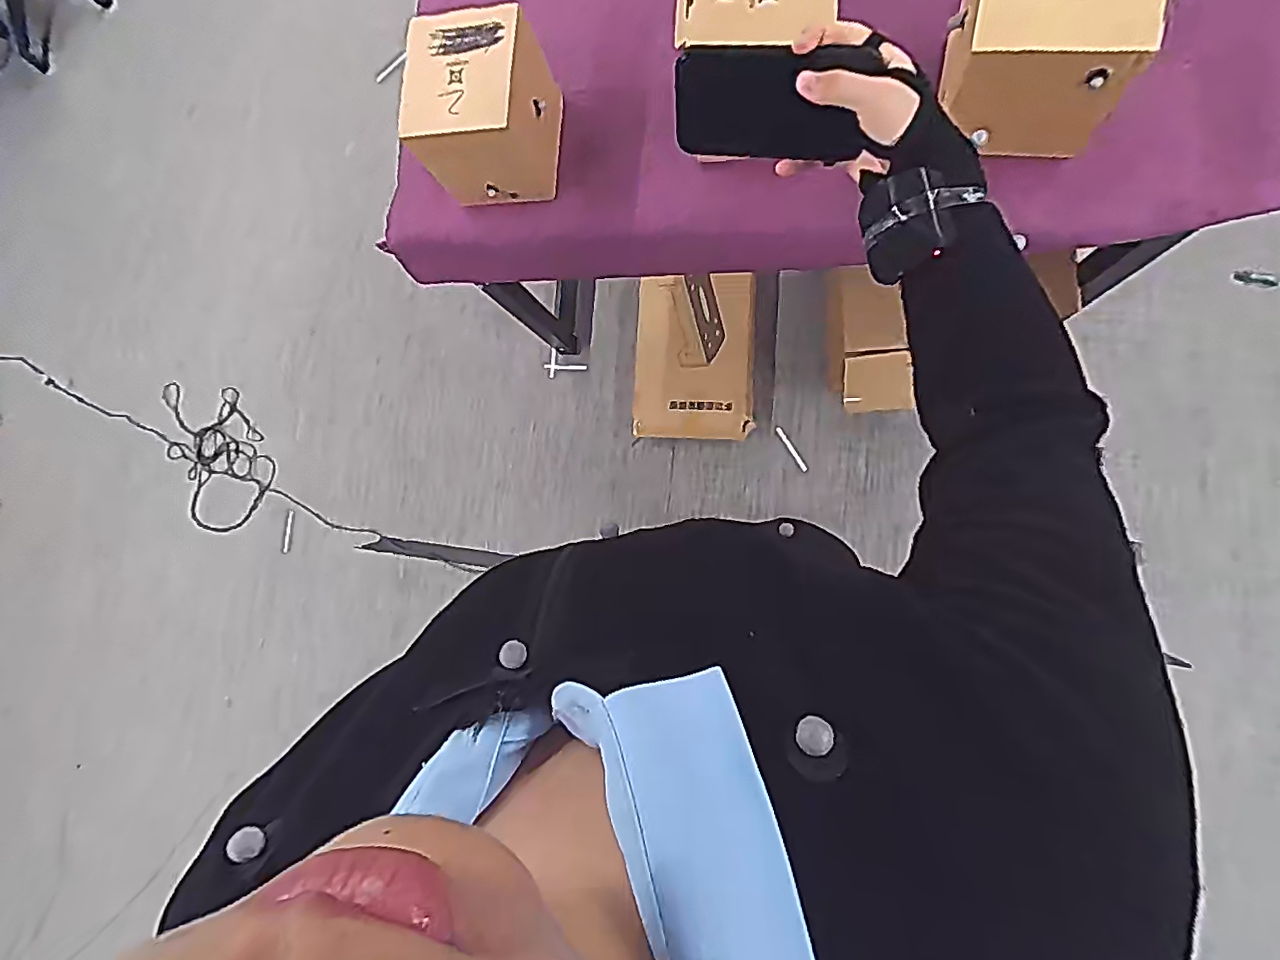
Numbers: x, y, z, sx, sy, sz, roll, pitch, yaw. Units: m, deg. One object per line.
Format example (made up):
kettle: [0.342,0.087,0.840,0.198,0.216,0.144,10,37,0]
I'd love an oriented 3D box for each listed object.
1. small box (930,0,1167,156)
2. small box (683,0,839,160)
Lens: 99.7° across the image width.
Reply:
small box: [0.466,-0.514,0.637,0.179,0.176,0.168,10,88,13]
small box: [0.158,-0.553,0.708,0.179,0.176,0.168,3,84,13]
